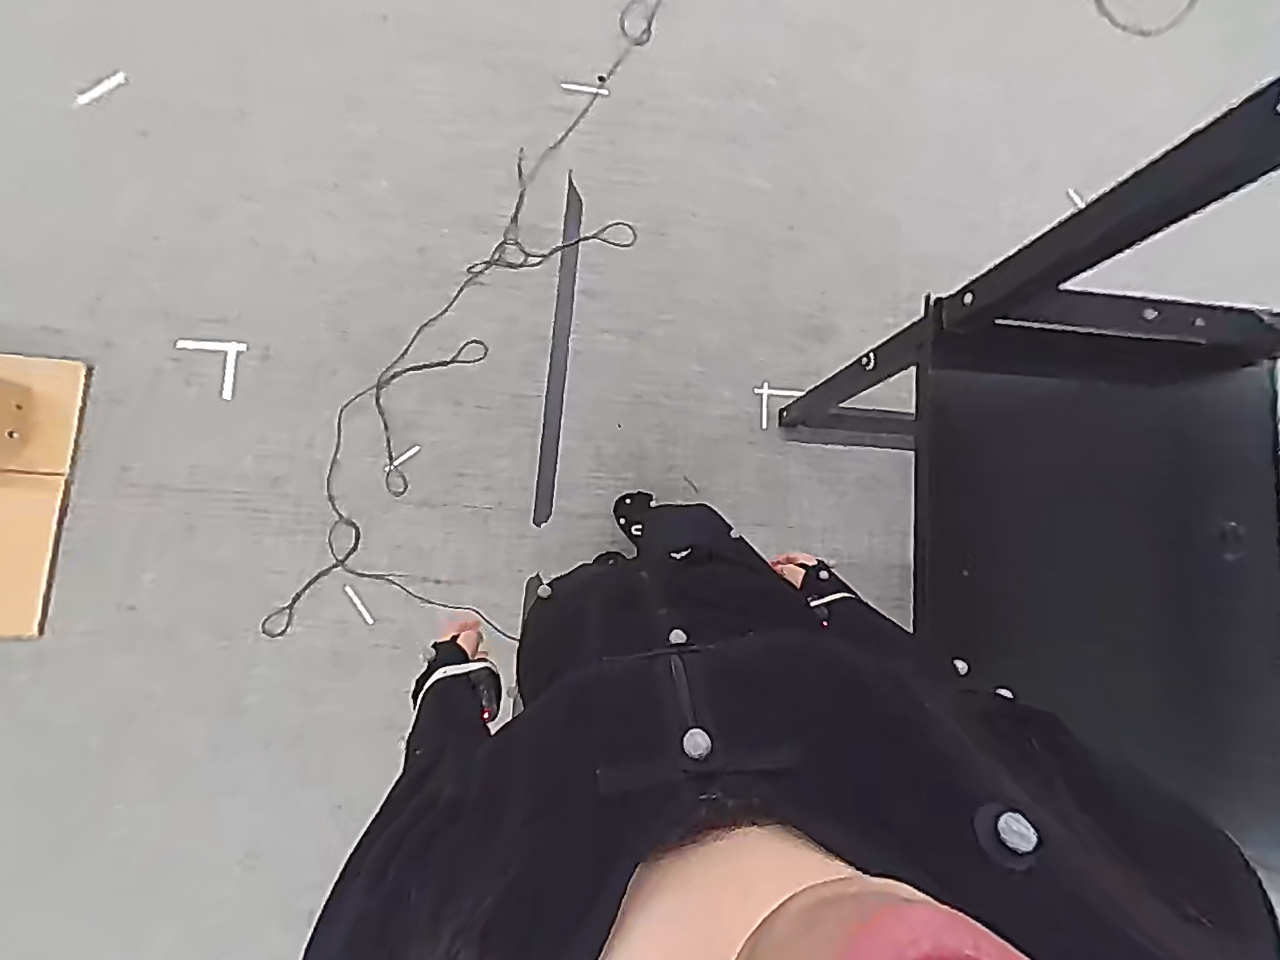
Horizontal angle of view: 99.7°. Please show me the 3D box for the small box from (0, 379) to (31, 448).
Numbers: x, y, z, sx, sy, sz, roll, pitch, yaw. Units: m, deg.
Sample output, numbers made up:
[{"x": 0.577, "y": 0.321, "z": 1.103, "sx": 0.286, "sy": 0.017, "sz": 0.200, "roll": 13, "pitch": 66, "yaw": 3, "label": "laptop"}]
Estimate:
[{"x": -1.621, "y": -0.168, "z": 1.279, "sx": 0.179, "sy": 0.176, "sz": 0.168, "roll": 1, "pitch": 84, "yaw": -5, "label": "small box"}]
